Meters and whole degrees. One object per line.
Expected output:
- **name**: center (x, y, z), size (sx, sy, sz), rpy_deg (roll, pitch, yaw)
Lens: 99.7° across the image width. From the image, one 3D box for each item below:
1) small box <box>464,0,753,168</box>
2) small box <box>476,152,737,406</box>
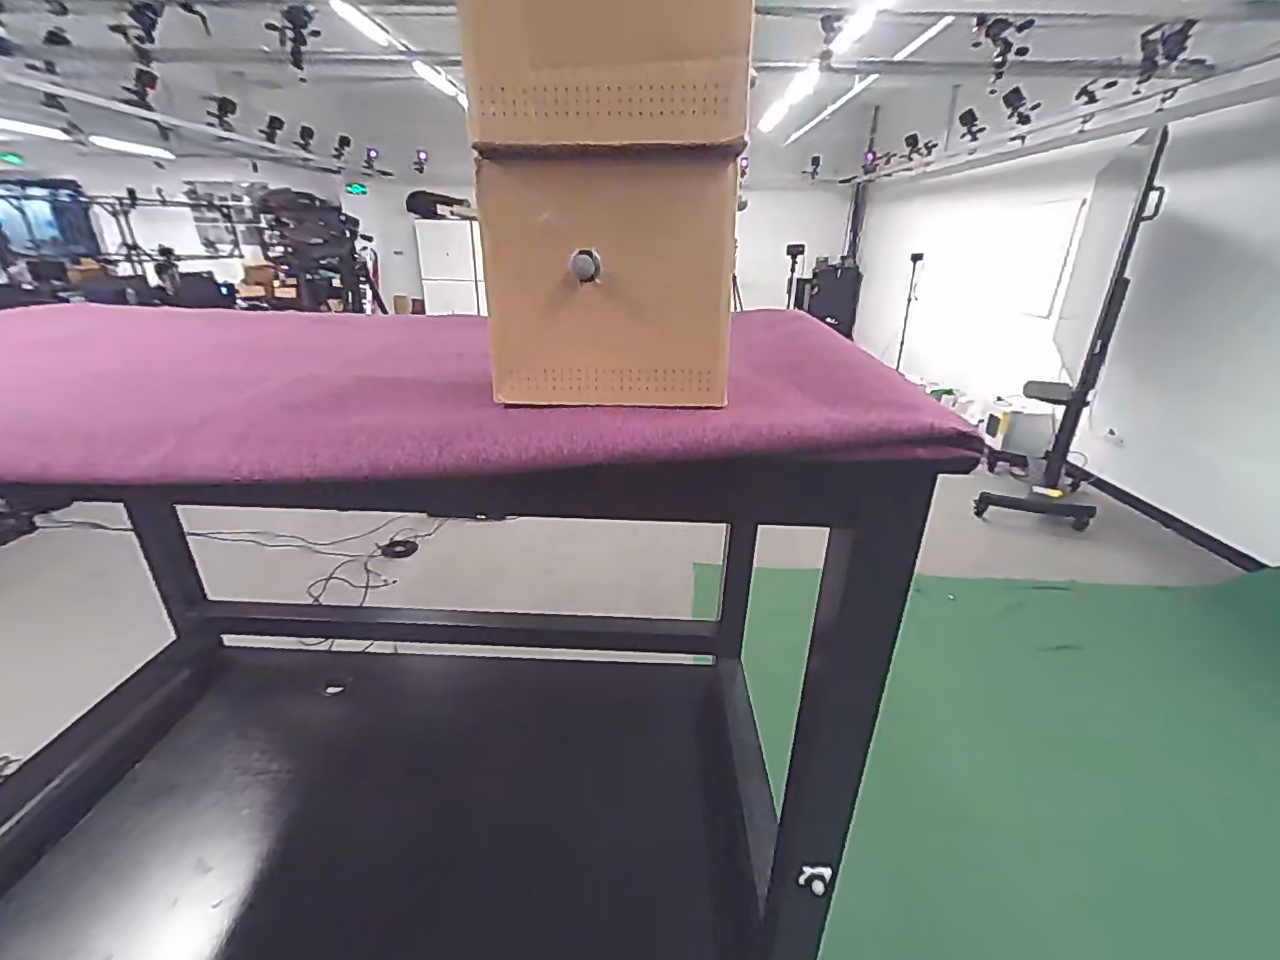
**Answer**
- **small box**: center (-0.016, -0.306, 0.380), size (0.179, 0.176, 0.168), rpy_deg (1, 21, 2)
- **small box**: center (-0.017, -0.159, 0.451), size (0.179, 0.176, 0.168), rpy_deg (1, 21, 3)
